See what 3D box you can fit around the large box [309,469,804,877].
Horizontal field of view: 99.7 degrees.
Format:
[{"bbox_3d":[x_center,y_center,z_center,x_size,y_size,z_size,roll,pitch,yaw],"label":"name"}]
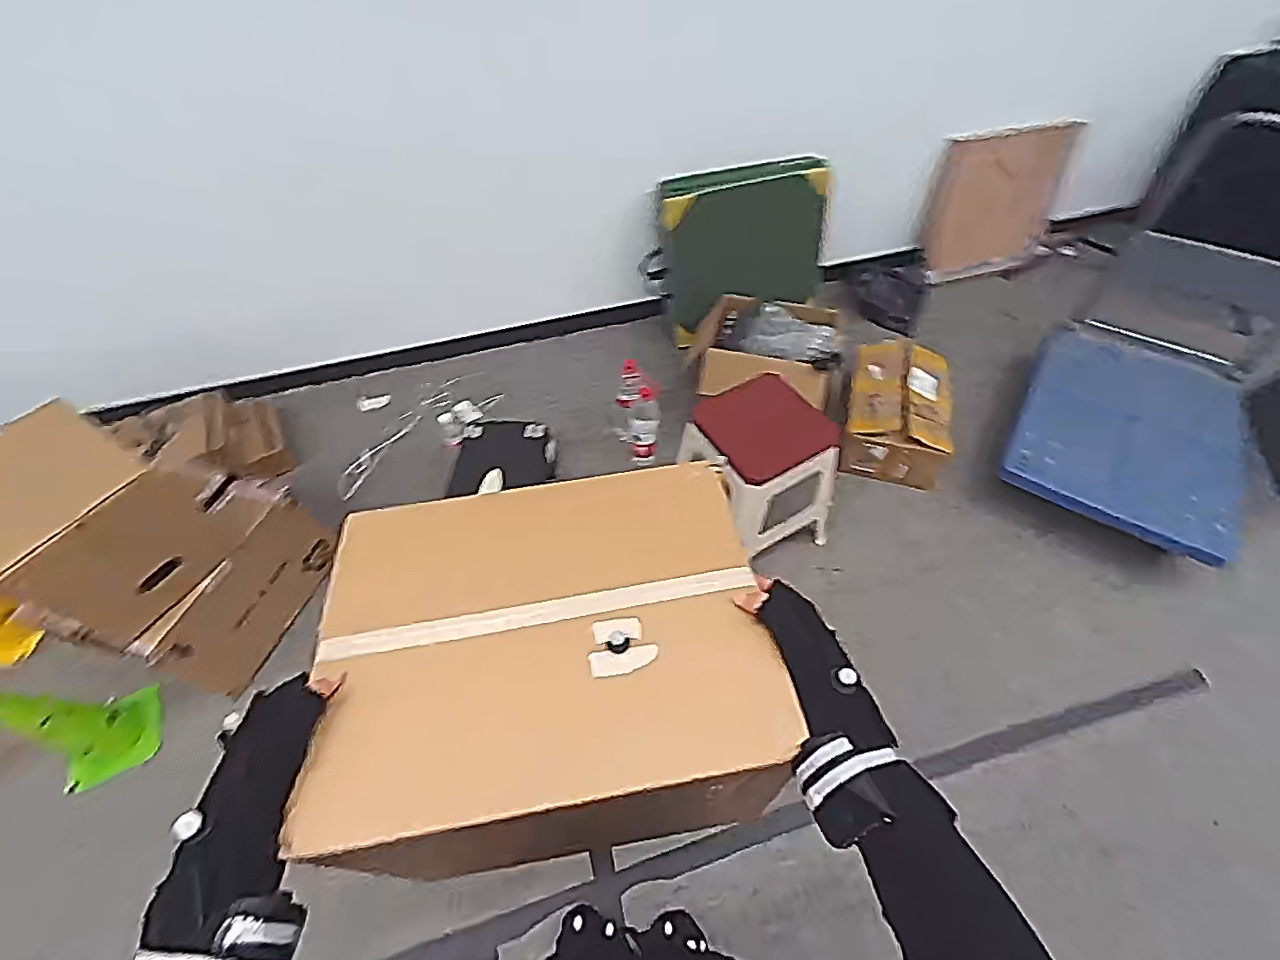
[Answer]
[{"bbox_3d":[-0.079,0.226,0.632,0.408,0.320,0.320,-8,51,-4],"label":"large box"}]
